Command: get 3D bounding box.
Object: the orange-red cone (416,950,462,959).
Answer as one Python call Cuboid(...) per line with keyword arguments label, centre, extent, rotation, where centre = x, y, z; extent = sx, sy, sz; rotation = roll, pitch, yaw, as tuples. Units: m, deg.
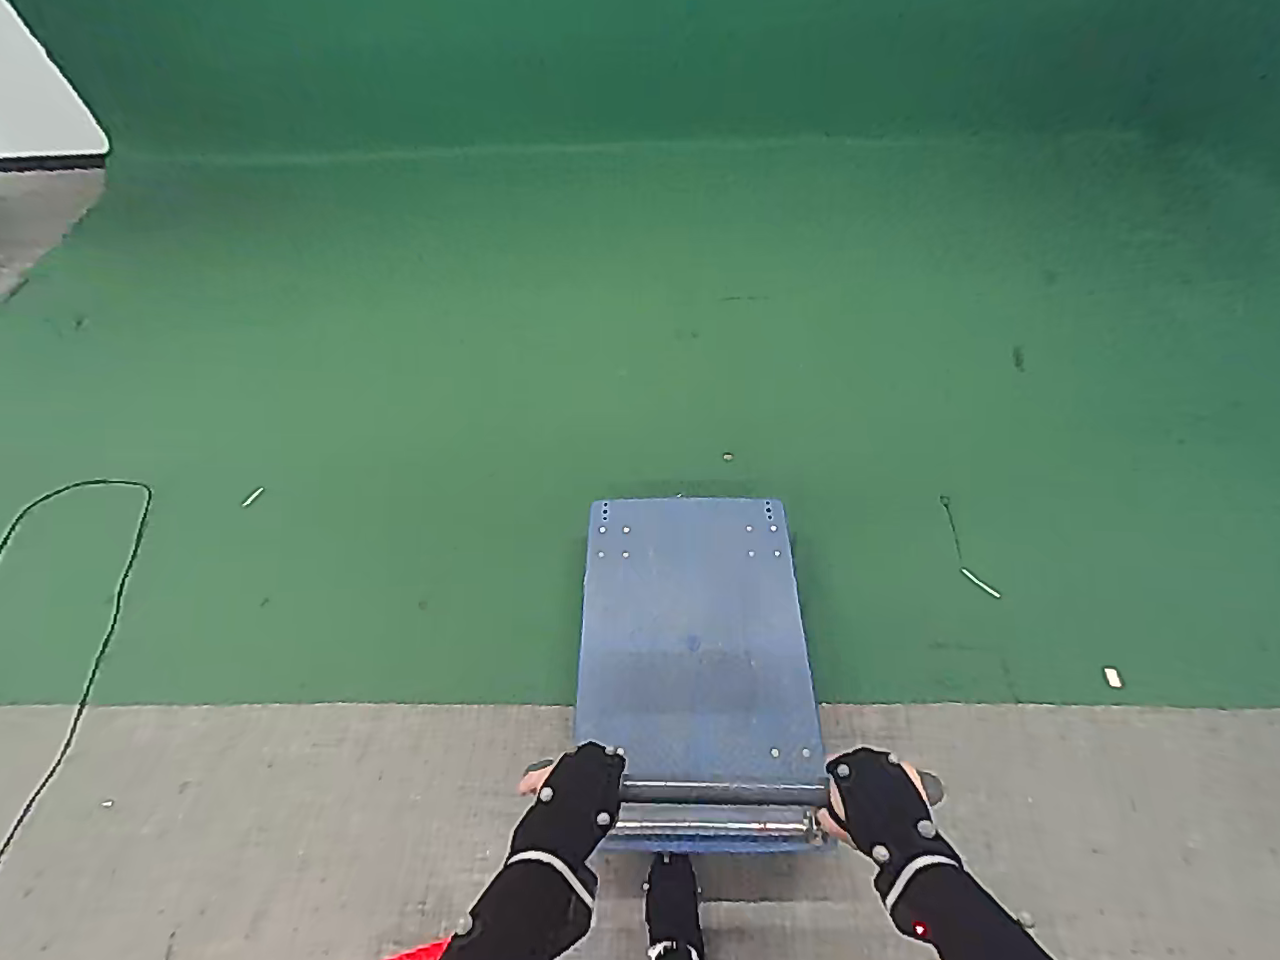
Cuboid(label="orange-red cone", centre=(-0.470, 1.015, 0.973), extent=(0.199, 0.360, 0.198), rotation=(-13, 55, -5))
